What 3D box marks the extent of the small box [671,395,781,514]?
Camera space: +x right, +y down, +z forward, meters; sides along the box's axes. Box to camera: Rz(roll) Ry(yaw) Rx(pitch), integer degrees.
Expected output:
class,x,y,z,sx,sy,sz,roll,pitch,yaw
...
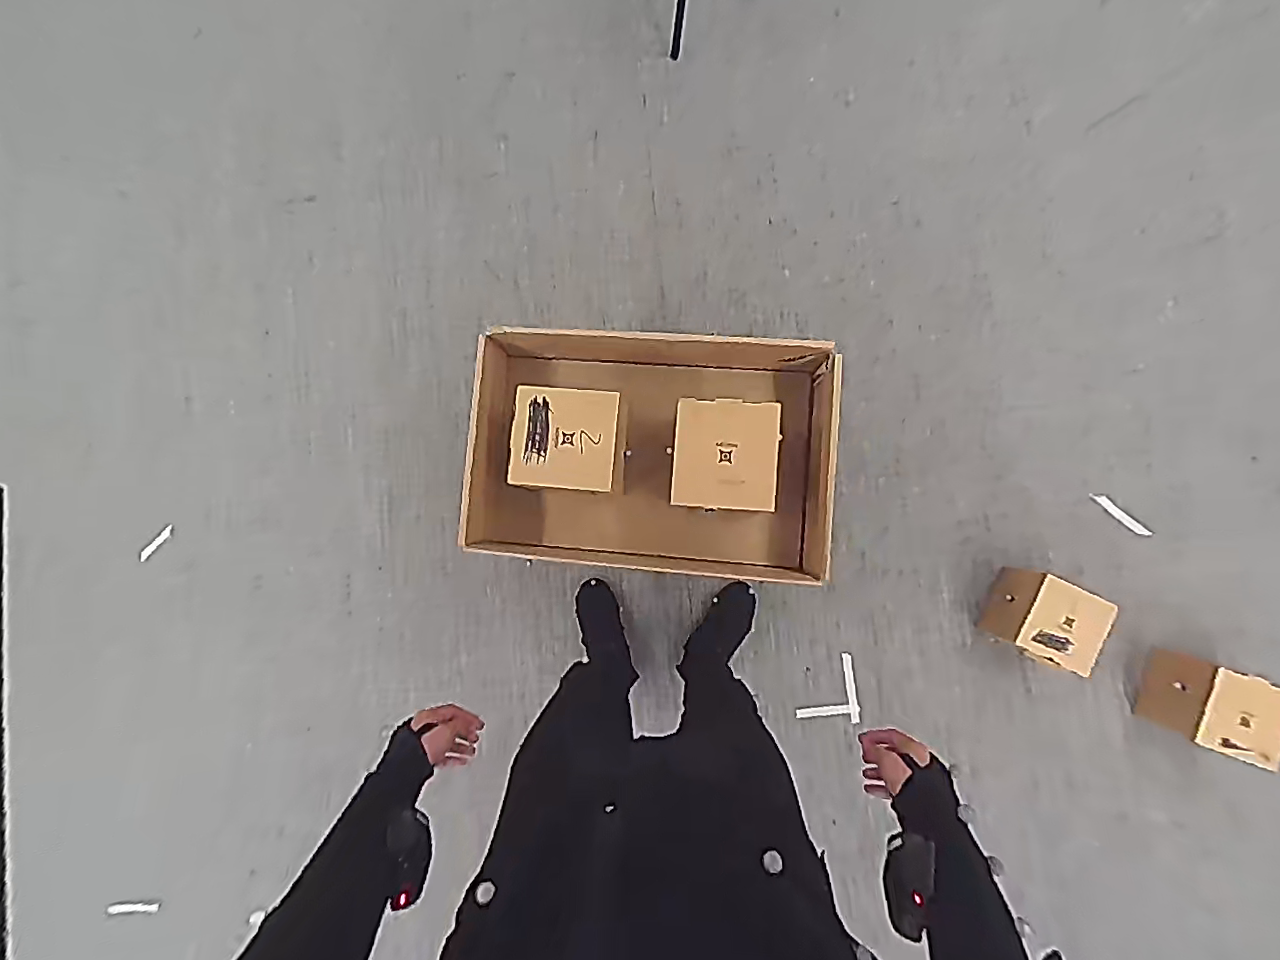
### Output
class,x,y,z,sx,sy,sz,roll,pitch,yaw
small box,0.145,-0.037,0.937,0.168,0.176,0.179,4,85,7

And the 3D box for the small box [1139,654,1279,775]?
class,x,y,z,sx,sy,sz,roll,pitch,yaw
small box,1.286,0.512,1.213,0.168,0.176,0.179,20,87,7

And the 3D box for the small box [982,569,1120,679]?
class,x,y,z,sx,sy,sz,roll,pitch,yaw
small box,0.939,0.326,1.259,0.168,0.176,0.179,27,89,7
